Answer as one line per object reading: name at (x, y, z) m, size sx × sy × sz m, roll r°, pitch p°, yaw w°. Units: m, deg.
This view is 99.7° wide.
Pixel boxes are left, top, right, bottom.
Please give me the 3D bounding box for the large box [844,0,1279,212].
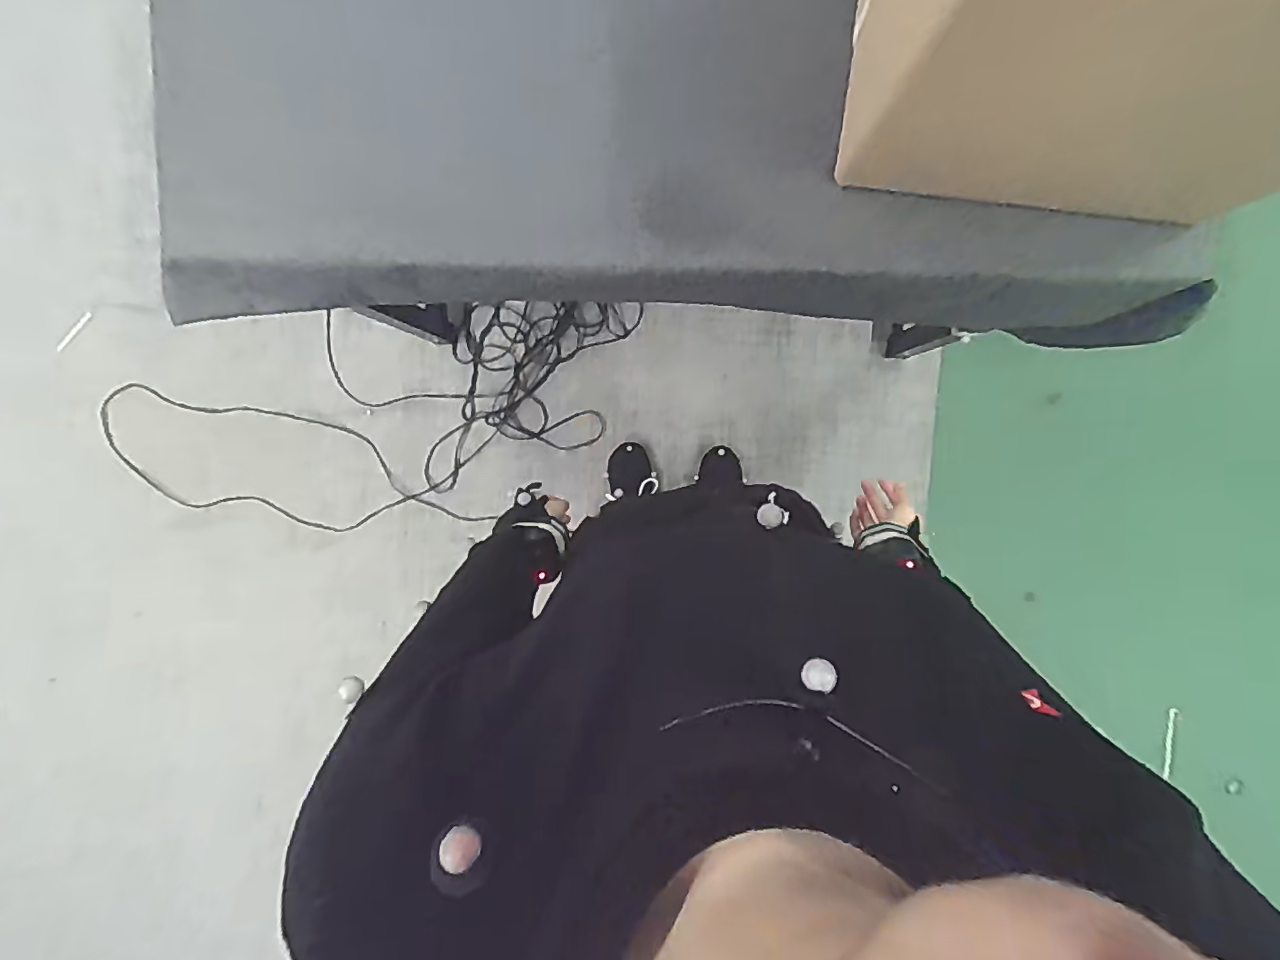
large box at (0.428, -0.450, 0.438) m, size 0.408 × 0.320 × 0.320 m, roll 7°, pitch 95°, yaw 1°
